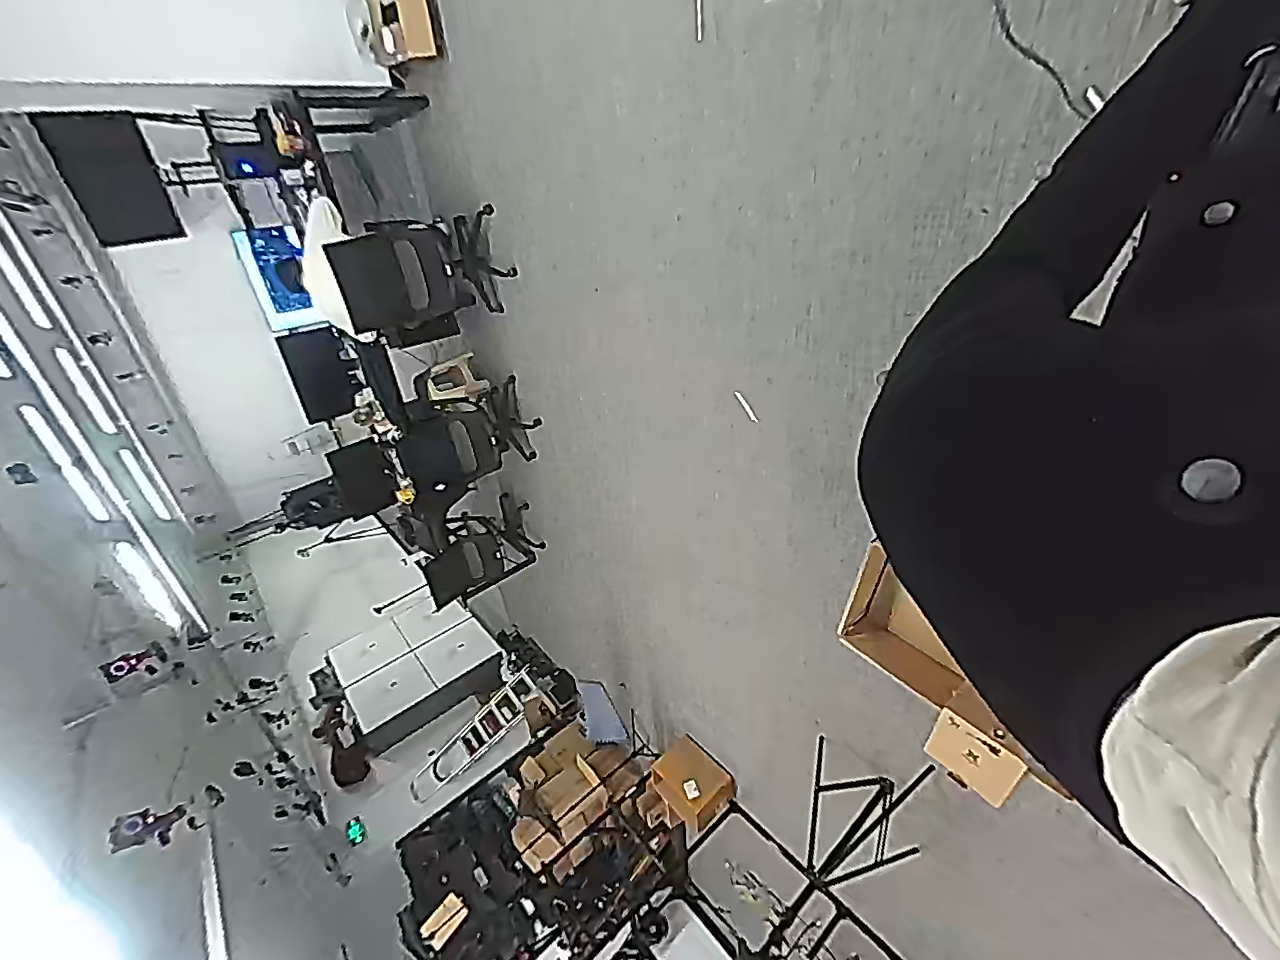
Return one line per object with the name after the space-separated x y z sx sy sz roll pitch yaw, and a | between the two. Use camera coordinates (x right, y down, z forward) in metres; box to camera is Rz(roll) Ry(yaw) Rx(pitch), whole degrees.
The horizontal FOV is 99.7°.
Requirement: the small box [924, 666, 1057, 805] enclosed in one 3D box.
0.755 0.545 1.168 0.168 0.176 0.179 34 139 40 | small box
